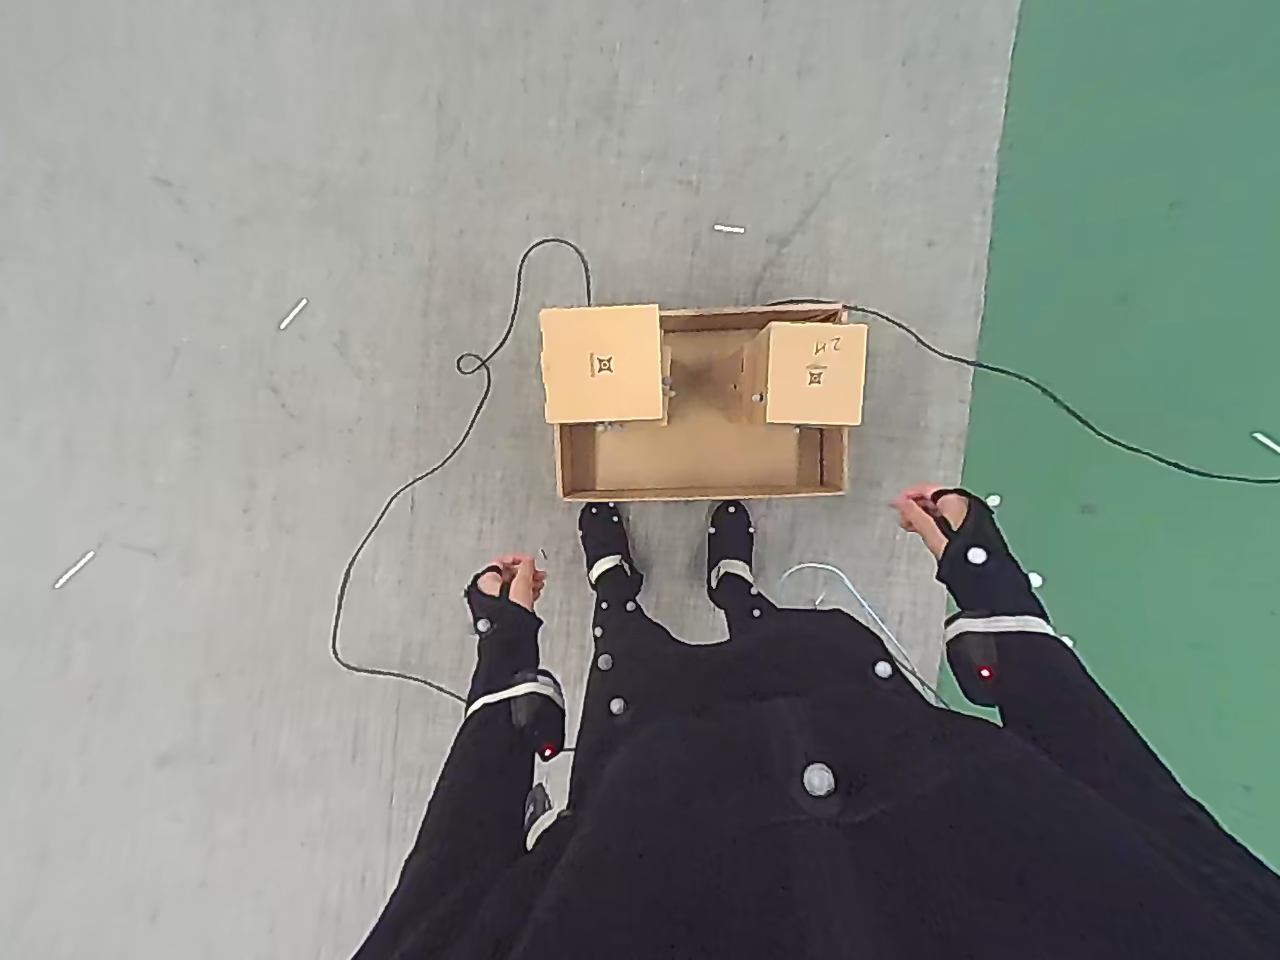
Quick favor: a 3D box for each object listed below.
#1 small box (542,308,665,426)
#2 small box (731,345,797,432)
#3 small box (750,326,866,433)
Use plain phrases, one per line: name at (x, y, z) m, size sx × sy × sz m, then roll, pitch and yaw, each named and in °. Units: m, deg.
small box at (-0.051, -0.173, 0.862) m, size 0.179 × 0.176 × 0.168 m, roll -2°, pitch 95°, yaw 3°
small box at (0.294, -0.191, 1.175) m, size 0.179 × 0.176 × 0.168 m, roll 3°, pitch 94°, yaw 3°
small box at (0.303, -0.179, 1.010) m, size 0.168 × 0.176 × 0.179 m, roll 3°, pitch 93°, yaw 1°
